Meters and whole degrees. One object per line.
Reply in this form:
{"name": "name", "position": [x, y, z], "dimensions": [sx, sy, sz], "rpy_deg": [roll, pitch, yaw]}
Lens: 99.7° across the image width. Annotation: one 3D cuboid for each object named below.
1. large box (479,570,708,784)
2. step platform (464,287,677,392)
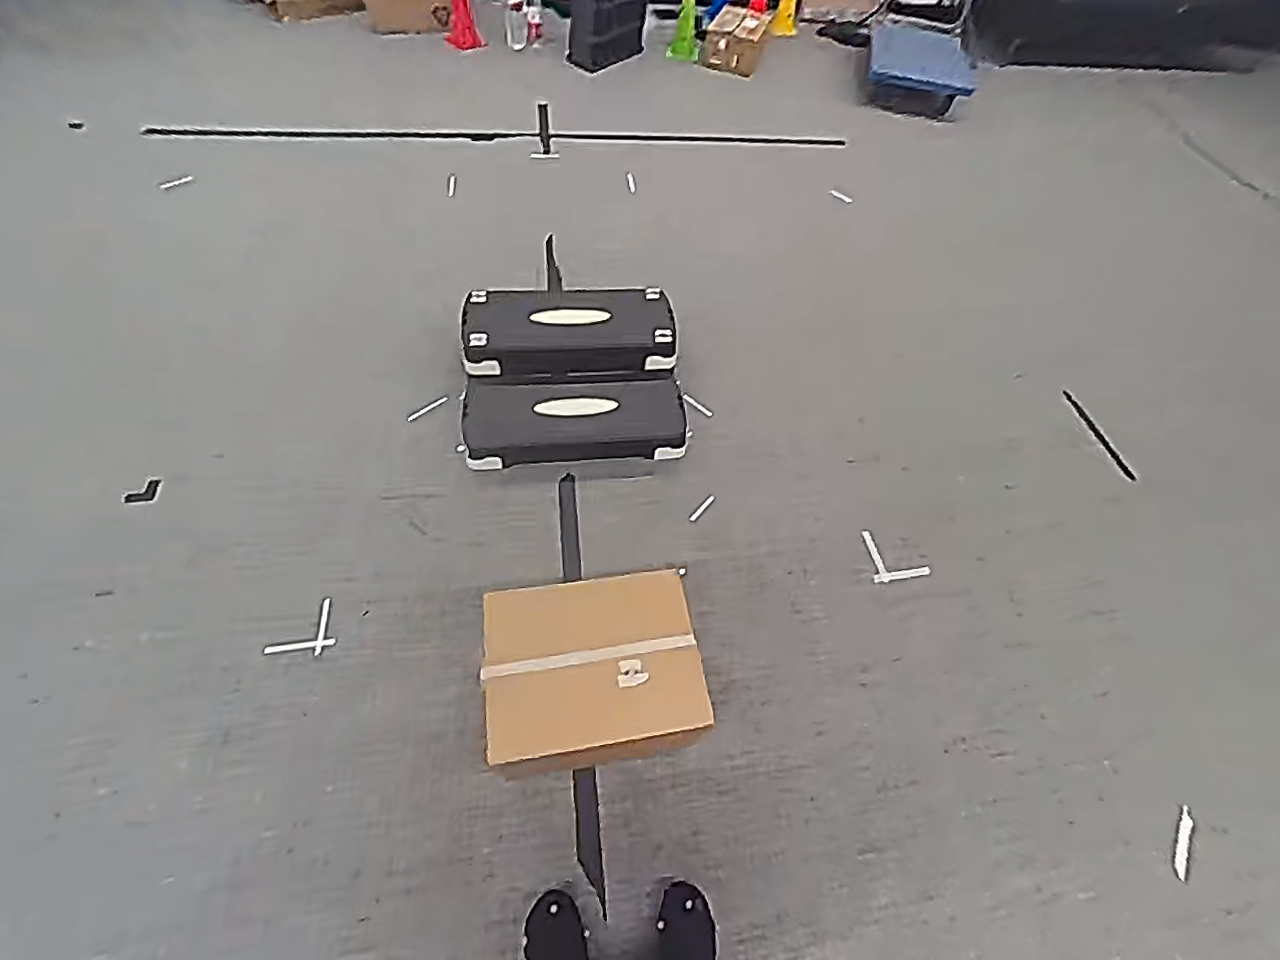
{"name": "large box", "position": [-0.111, 0.421, 1.149], "dimensions": [0.408, 0.320, 0.320], "rpy_deg": [-6, 58, -10]}
{"name": "step platform", "position": [-0.221, -0.462, 1.774], "dimensions": [0.684, 0.204, 0.286], "rpy_deg": [0, 57, -6]}
